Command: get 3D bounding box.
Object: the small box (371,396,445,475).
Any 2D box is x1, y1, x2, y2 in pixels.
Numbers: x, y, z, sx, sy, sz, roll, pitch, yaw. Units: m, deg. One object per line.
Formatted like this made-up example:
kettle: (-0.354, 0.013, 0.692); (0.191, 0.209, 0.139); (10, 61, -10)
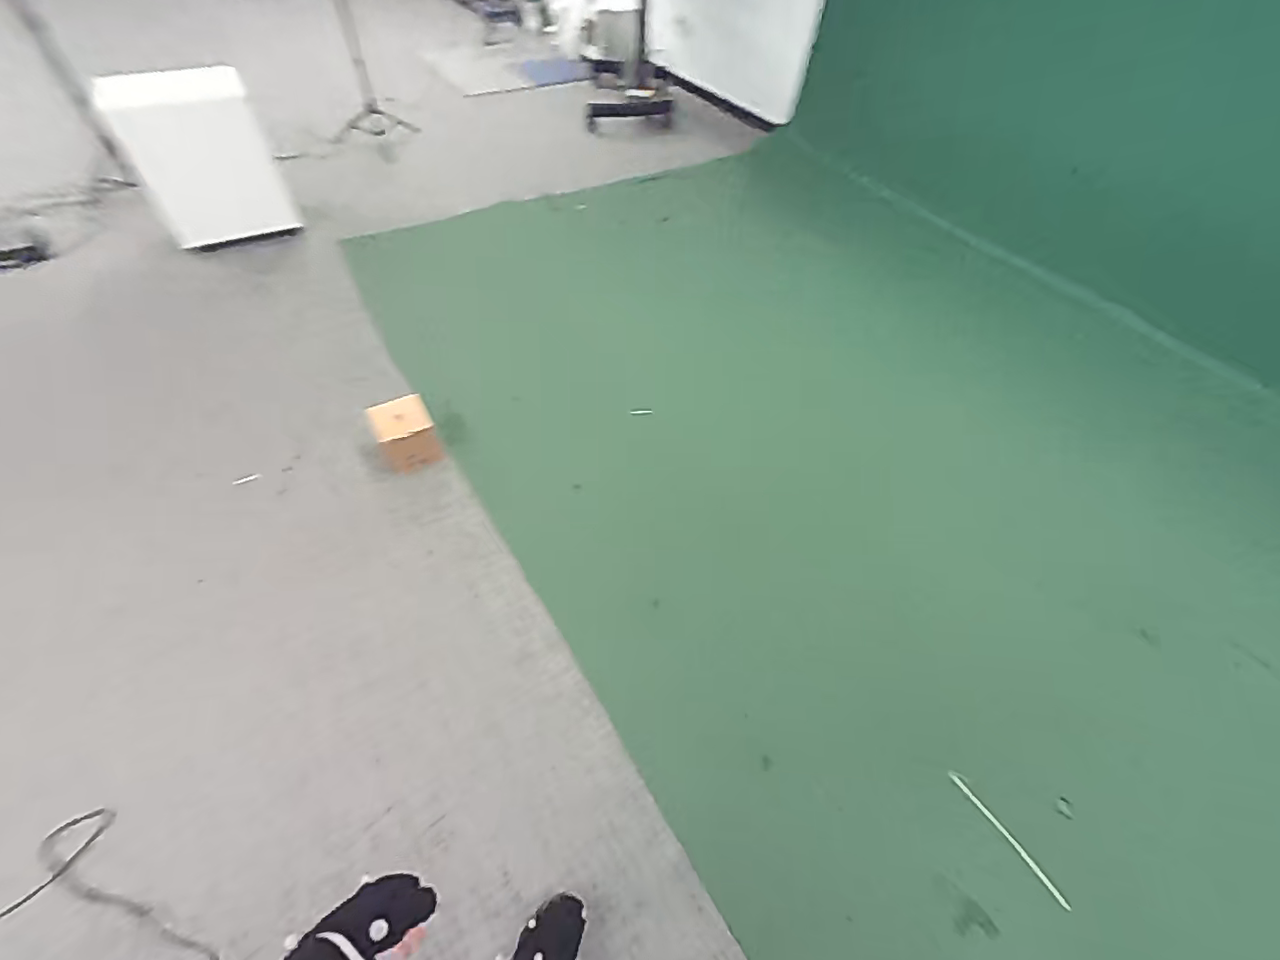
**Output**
small box: (-0.789, -0.150, 1.844); (0.168, 0.176, 0.179); (-25, 58, -22)
